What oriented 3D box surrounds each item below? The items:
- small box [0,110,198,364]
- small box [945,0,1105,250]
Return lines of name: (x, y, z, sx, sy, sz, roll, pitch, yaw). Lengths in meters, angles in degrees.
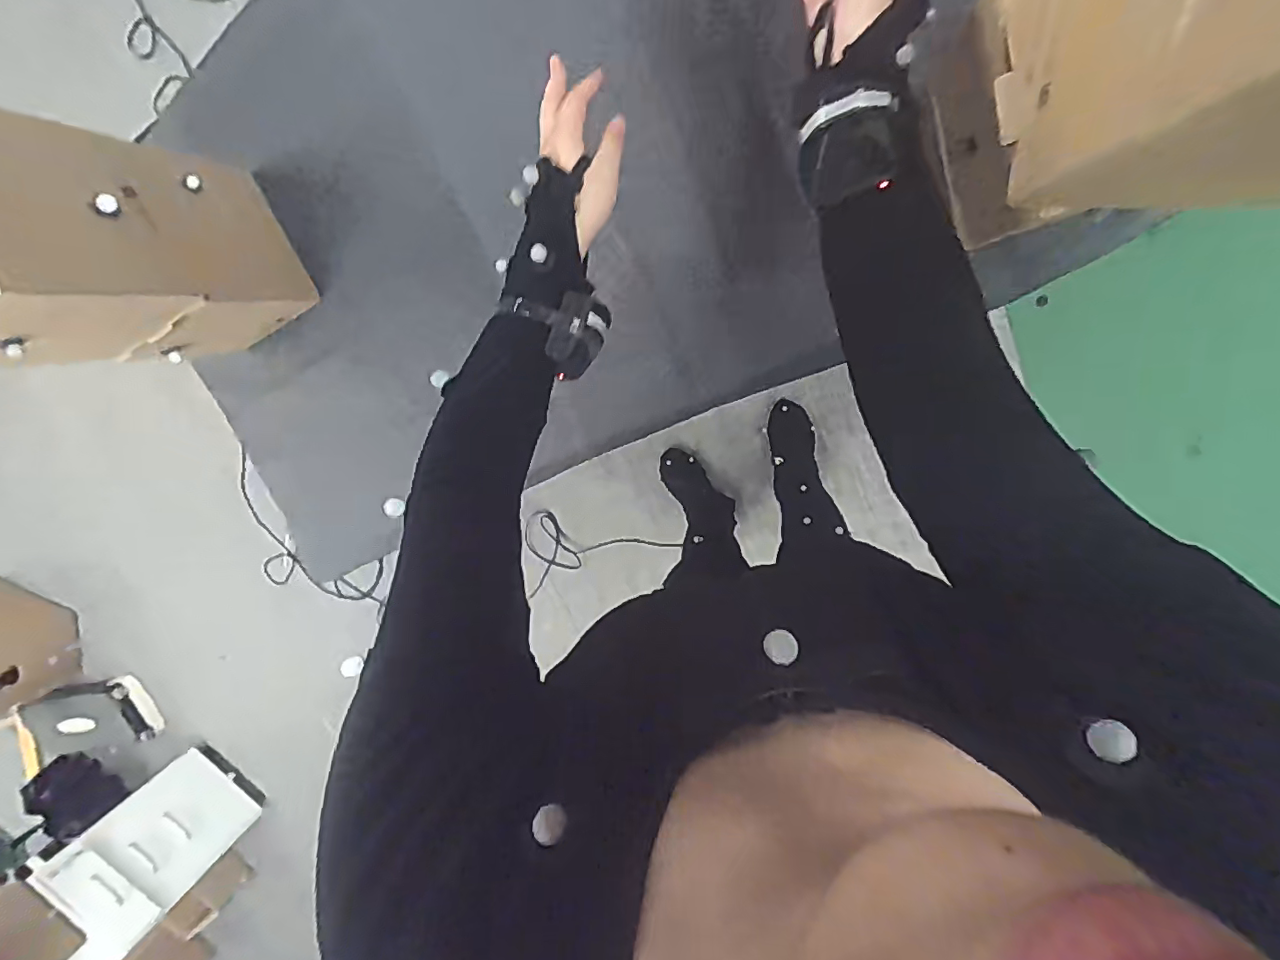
small box: (-0.575, -0.212, 0.499, 0.179, 0.176, 0.168, -20, 104, 18)
small box: (0.362, -0.300, 0.429, 0.179, 0.176, 0.168, -14, 102, 18)
